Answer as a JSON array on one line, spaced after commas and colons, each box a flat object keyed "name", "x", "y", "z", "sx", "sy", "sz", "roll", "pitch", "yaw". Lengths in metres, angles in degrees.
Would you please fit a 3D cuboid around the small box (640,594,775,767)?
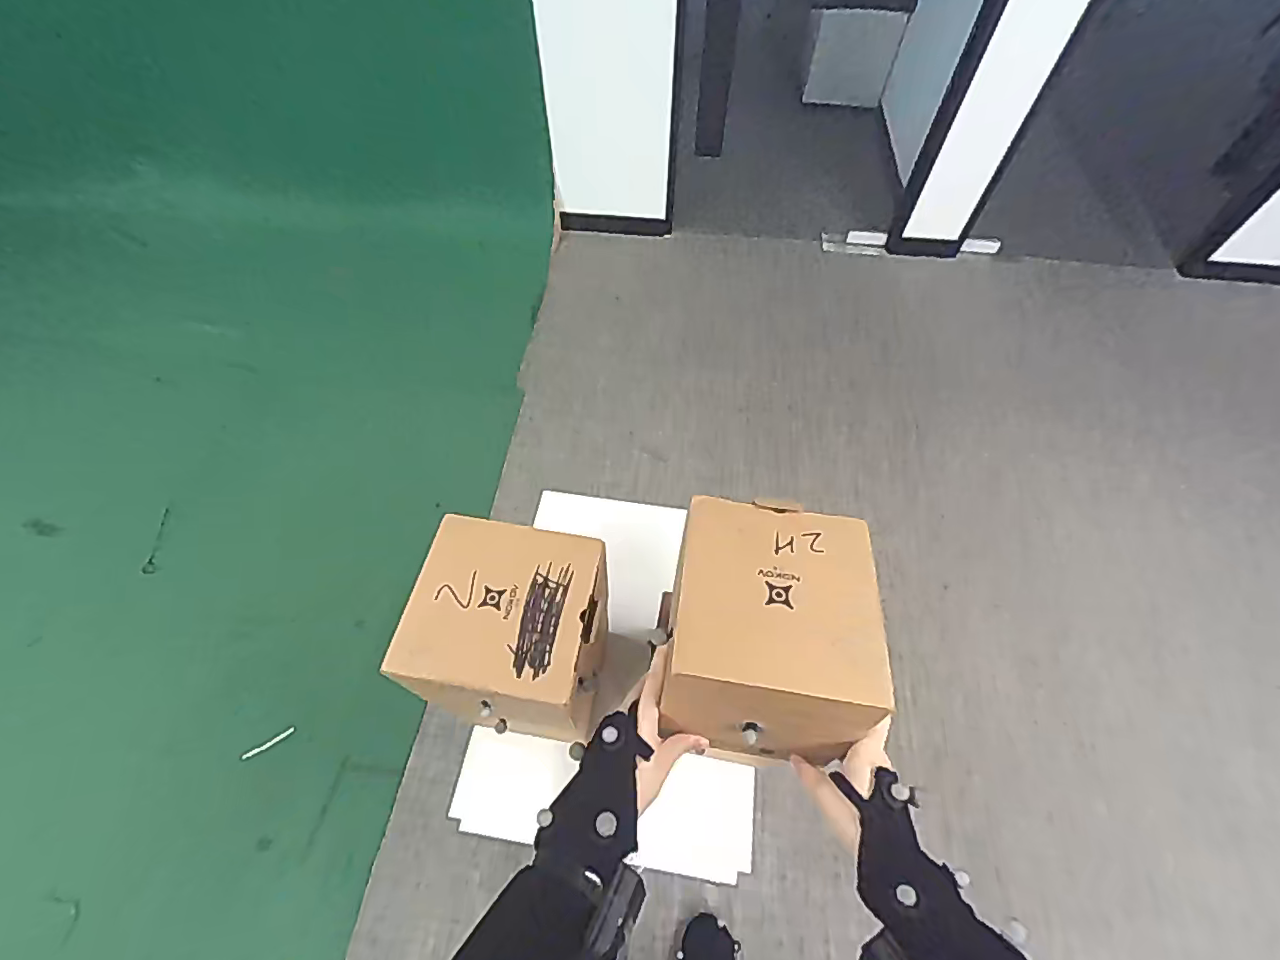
[{"name": "small box", "x": 0.100, "y": 0.273, "z": 0.723, "sx": 0.179, "sy": 0.176, "sz": 0.168, "roll": 10, "pitch": 58, "yaw": 6}]

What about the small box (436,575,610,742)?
[{"name": "small box", "x": -0.143, "y": 0.248, "z": 0.735, "sx": 0.179, "sy": 0.176, "sz": 0.168, "roll": 9, "pitch": 58, "yaw": 4}]

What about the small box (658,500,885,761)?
[{"name": "small box", "x": 0.111, "y": 0.148, "z": 0.518, "sx": 0.168, "sy": 0.176, "sz": 0.179, "roll": 9, "pitch": 49, "yaw": 3}]
